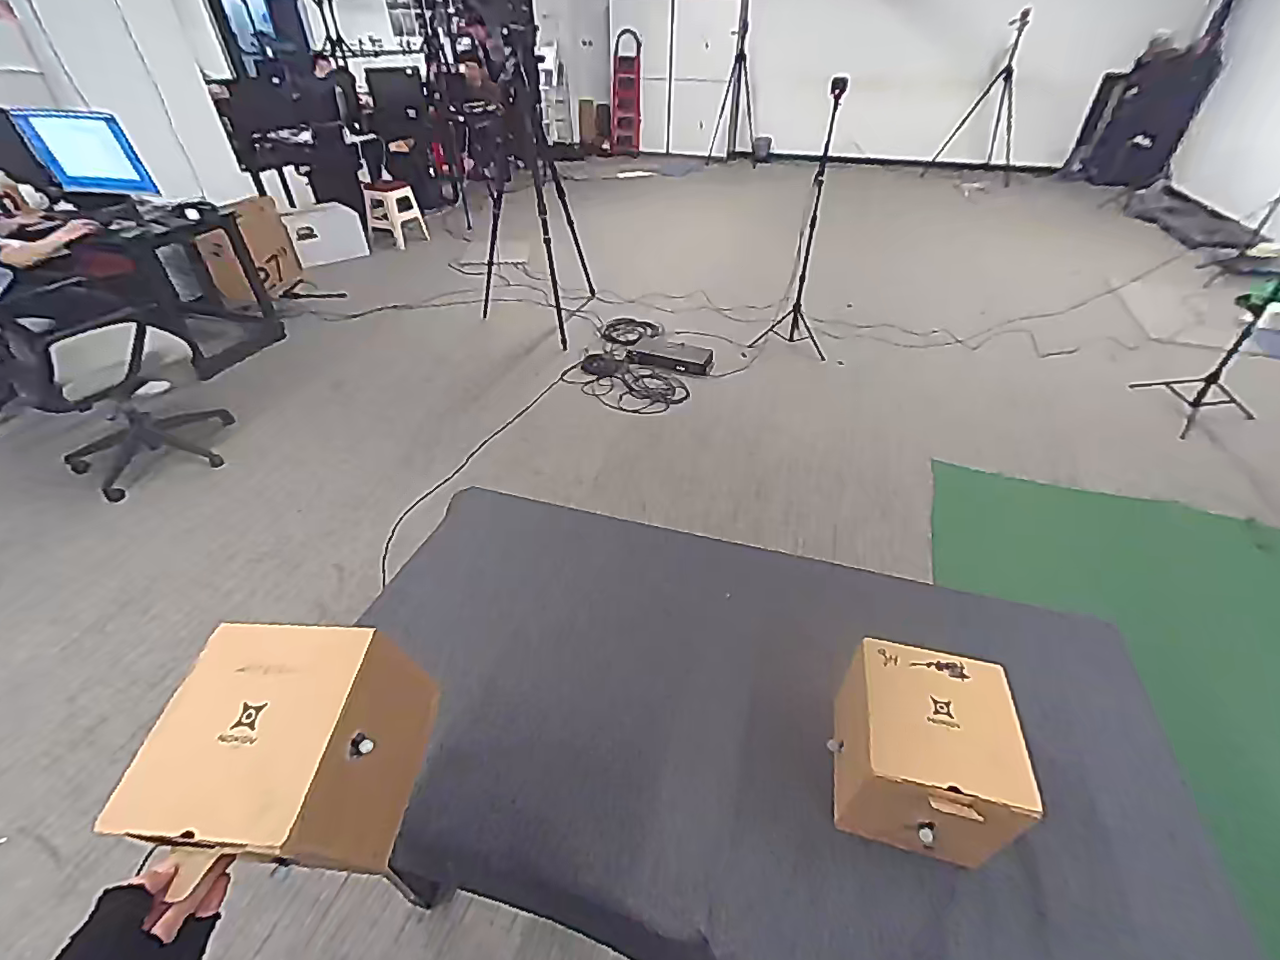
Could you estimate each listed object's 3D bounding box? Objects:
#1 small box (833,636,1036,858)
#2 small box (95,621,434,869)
[{"bbox_3d":[0.343,0.329,0.668,0.168,0.176,0.179,11,42,12],"label":"small box"},{"bbox_3d":[-0.322,0.254,0.516,0.168,0.176,0.179,0,49,6],"label":"small box"}]
